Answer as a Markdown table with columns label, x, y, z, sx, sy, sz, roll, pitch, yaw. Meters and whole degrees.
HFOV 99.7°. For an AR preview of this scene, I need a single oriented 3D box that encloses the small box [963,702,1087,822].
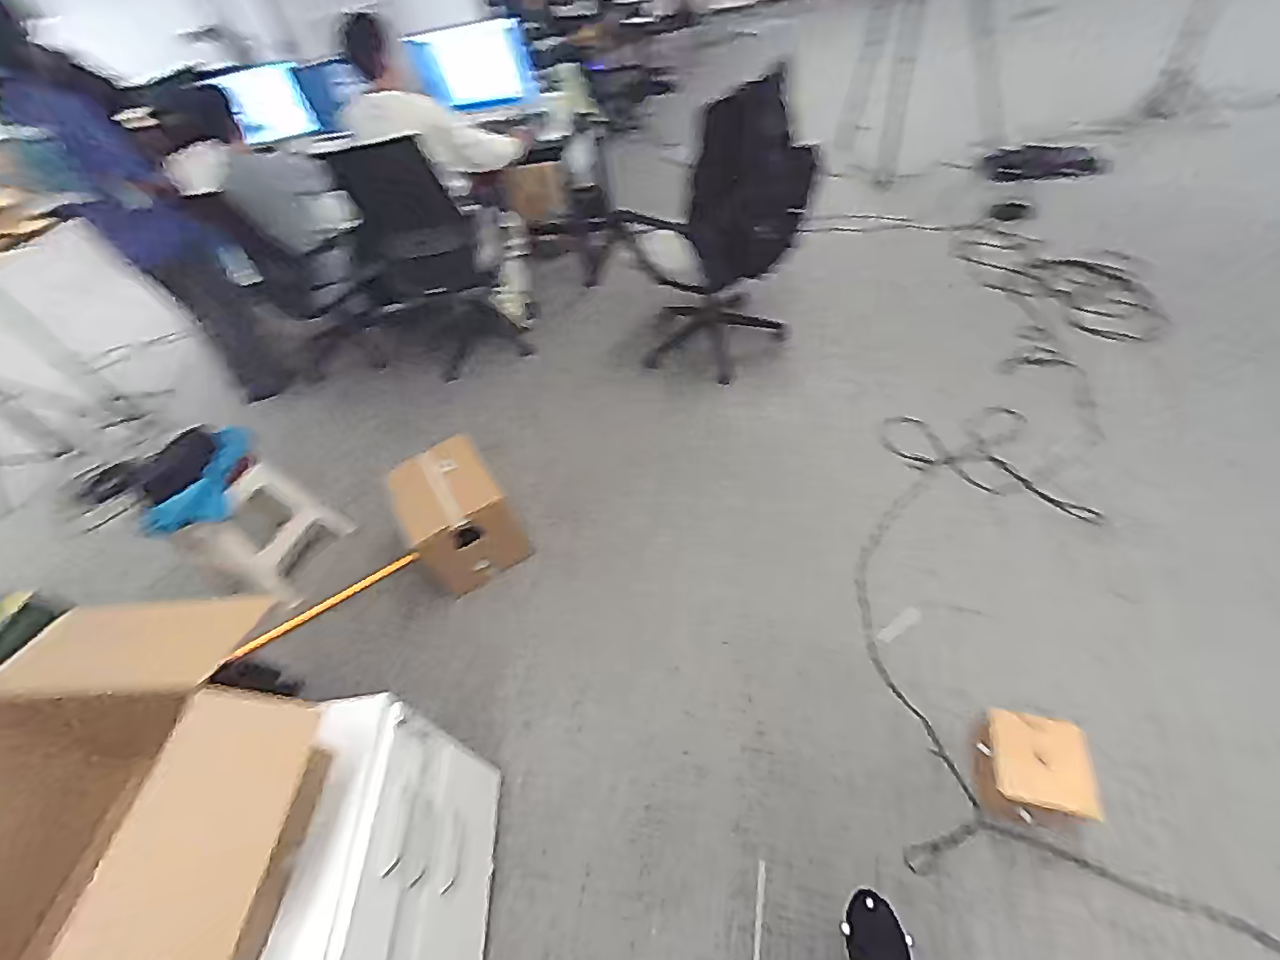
| label | x | y | z | sx | sy | sz | roll | pitch | yaw |
| --- | --- | --- | --- | --- | --- | --- | --- | --- | --- |
| small box | 0.814 | 0.609 | 1.163 | 0.168 | 0.176 | 0.179 | 5 | 50 | 18 |
